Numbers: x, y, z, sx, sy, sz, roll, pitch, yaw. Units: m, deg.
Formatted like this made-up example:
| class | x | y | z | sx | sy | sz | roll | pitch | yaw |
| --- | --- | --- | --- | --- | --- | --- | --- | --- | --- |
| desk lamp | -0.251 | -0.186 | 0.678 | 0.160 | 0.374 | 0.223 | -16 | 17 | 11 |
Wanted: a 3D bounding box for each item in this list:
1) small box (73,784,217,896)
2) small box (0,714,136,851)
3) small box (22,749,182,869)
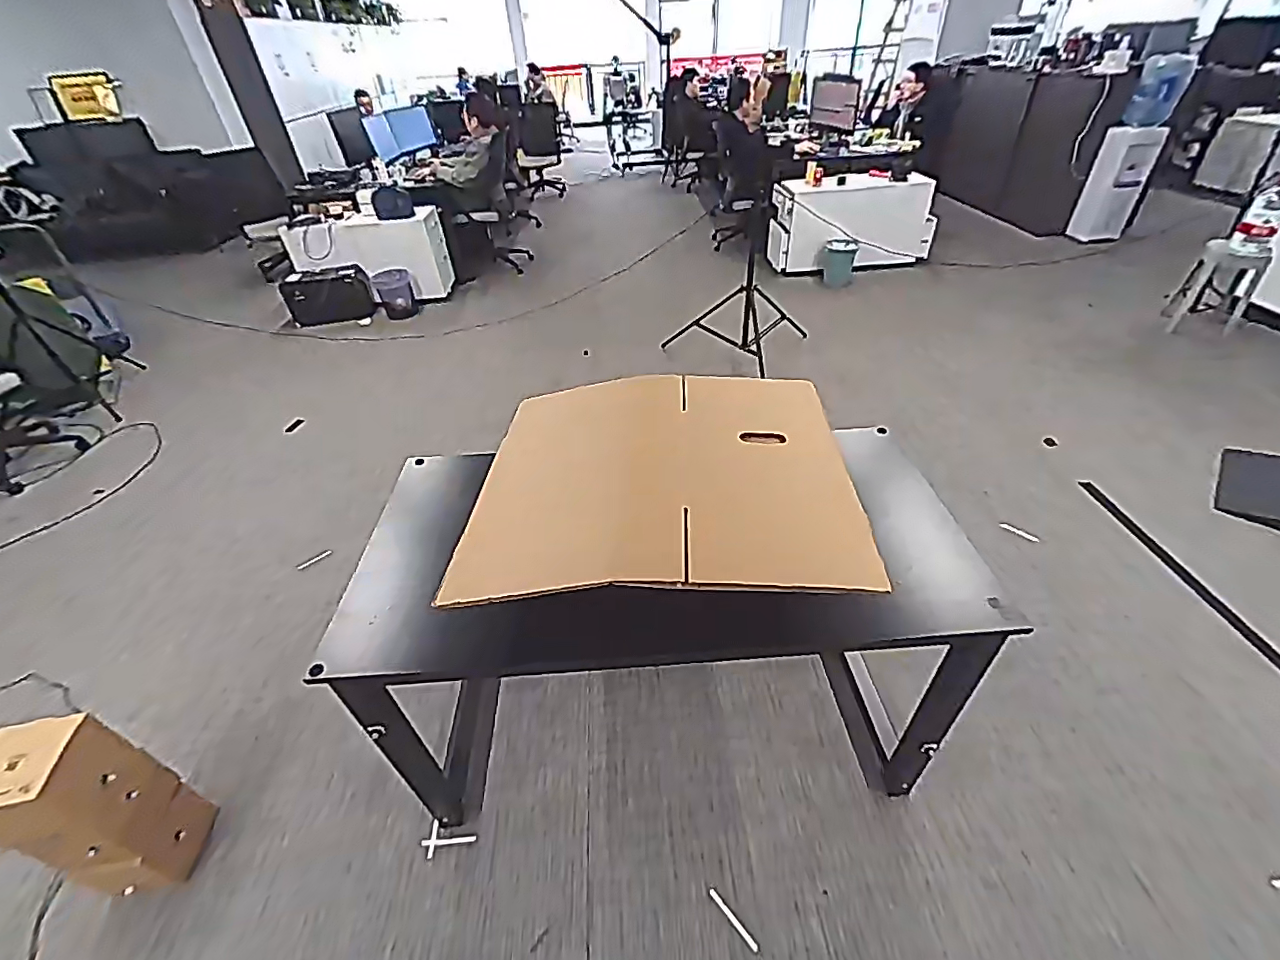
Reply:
| class | x | y | z | sx | sy | sz | roll | pitch | yaw |
| --- | --- | --- | --- | --- | --- | --- | --- | --- | --- |
| small box | -1.181 | 0.873 | 1.313 | 0.168 | 0.176 | 0.179 | -7 | 40 | -3 |
| small box | -1.200 | 0.619 | 1.109 | 0.168 | 0.176 | 0.179 | -10 | 39 | -7 |
| small box | -1.193 | 0.744 | 1.216 | 0.168 | 0.176 | 0.179 | -8 | 38 | -6 |
